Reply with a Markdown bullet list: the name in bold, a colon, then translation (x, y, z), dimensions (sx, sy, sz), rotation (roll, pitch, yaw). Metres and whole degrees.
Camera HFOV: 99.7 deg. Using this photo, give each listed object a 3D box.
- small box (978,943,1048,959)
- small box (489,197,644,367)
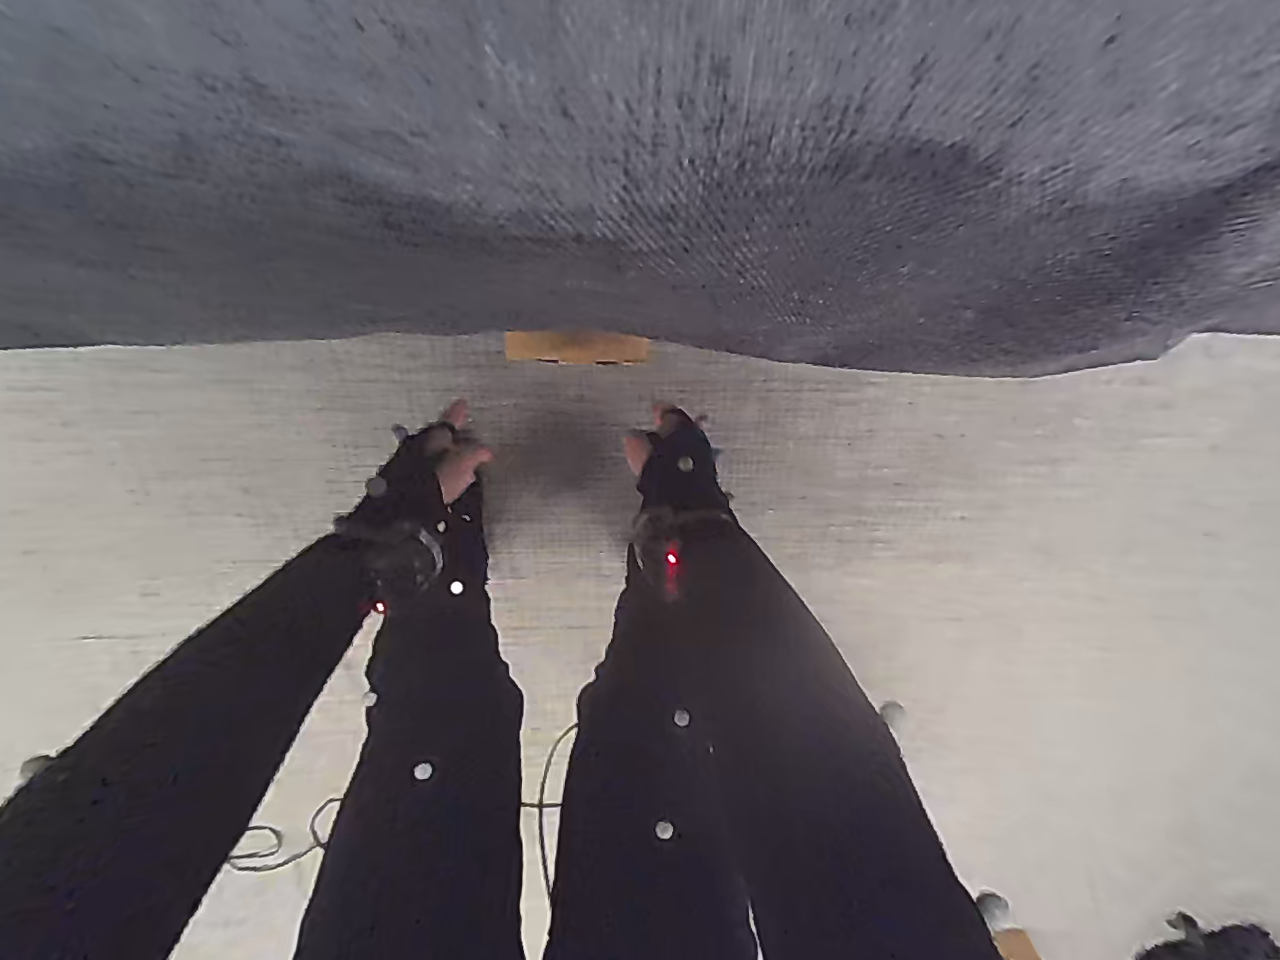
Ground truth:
- **small box**: translation (1.040, 1.399, 1.470), dimensions (0.168, 0.176, 0.179), rotation (-4, 114, 0)
- **small box**: translation (-0.083, -0.245, 0.672), dimensions (0.168, 0.176, 0.179), rotation (0, 113, -4)
